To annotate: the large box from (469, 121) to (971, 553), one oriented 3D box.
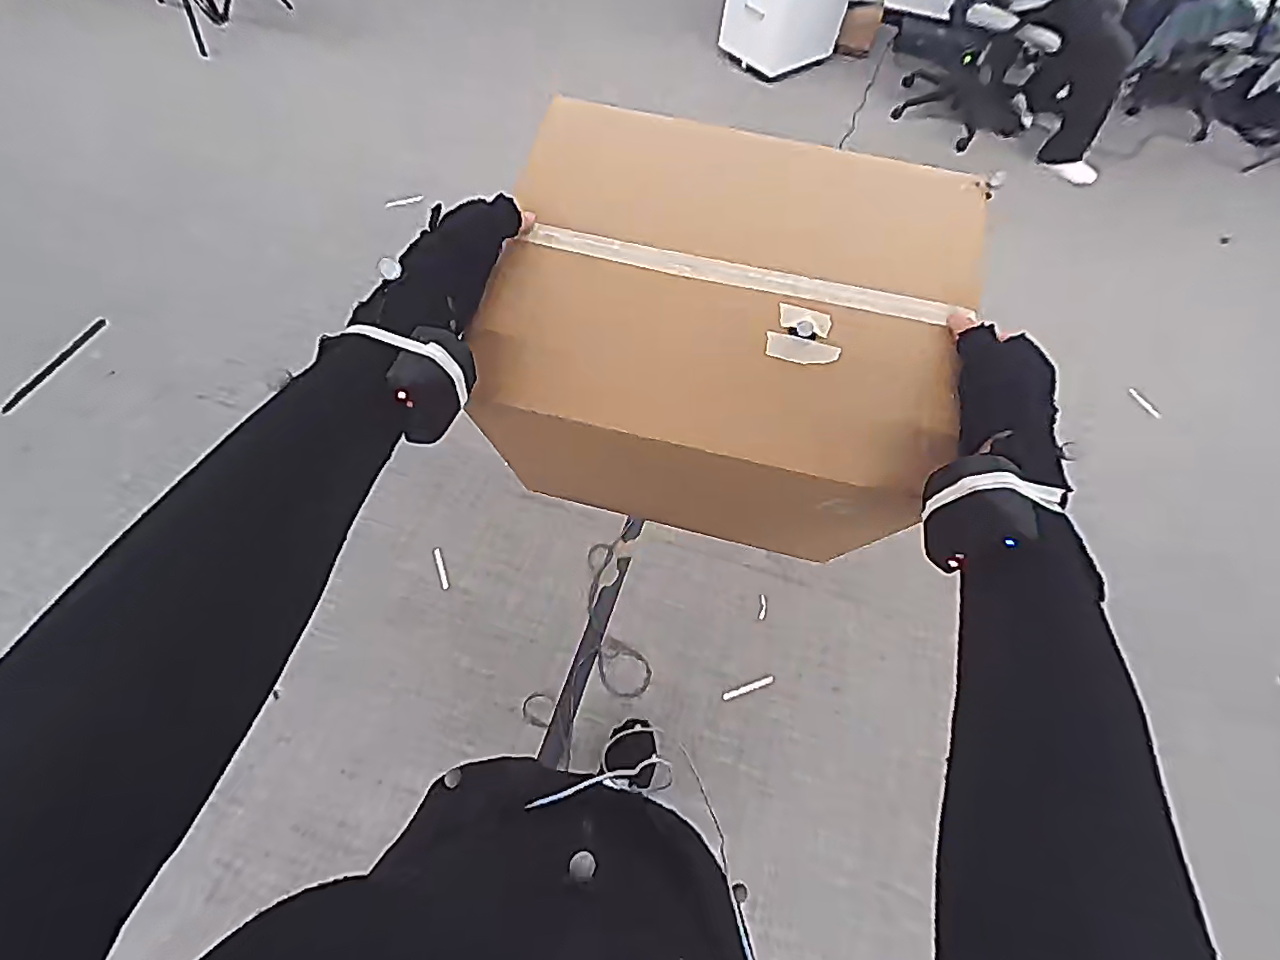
[{"bbox_3d":[0.081,-0.128,0.617,0.408,0.320,0.320,13,75,4],"label":"large box"}]
